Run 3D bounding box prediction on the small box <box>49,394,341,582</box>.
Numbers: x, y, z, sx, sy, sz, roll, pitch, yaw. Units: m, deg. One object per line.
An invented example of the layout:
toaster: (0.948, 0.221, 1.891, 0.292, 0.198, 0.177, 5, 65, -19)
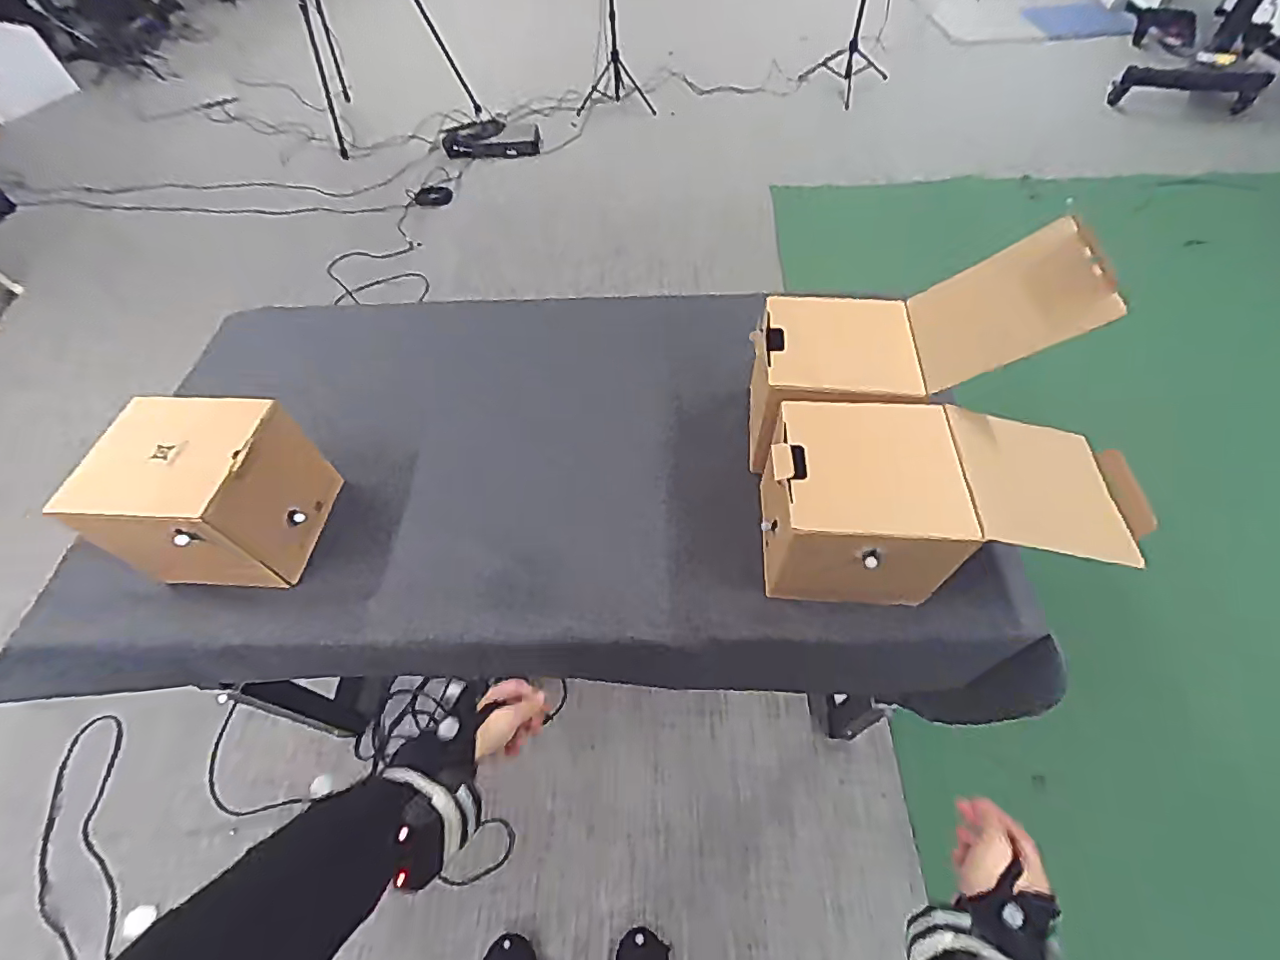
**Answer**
small box: (-0.511, 0.014, 0.657, 0.179, 0.176, 0.168, 2, 54, 3)
